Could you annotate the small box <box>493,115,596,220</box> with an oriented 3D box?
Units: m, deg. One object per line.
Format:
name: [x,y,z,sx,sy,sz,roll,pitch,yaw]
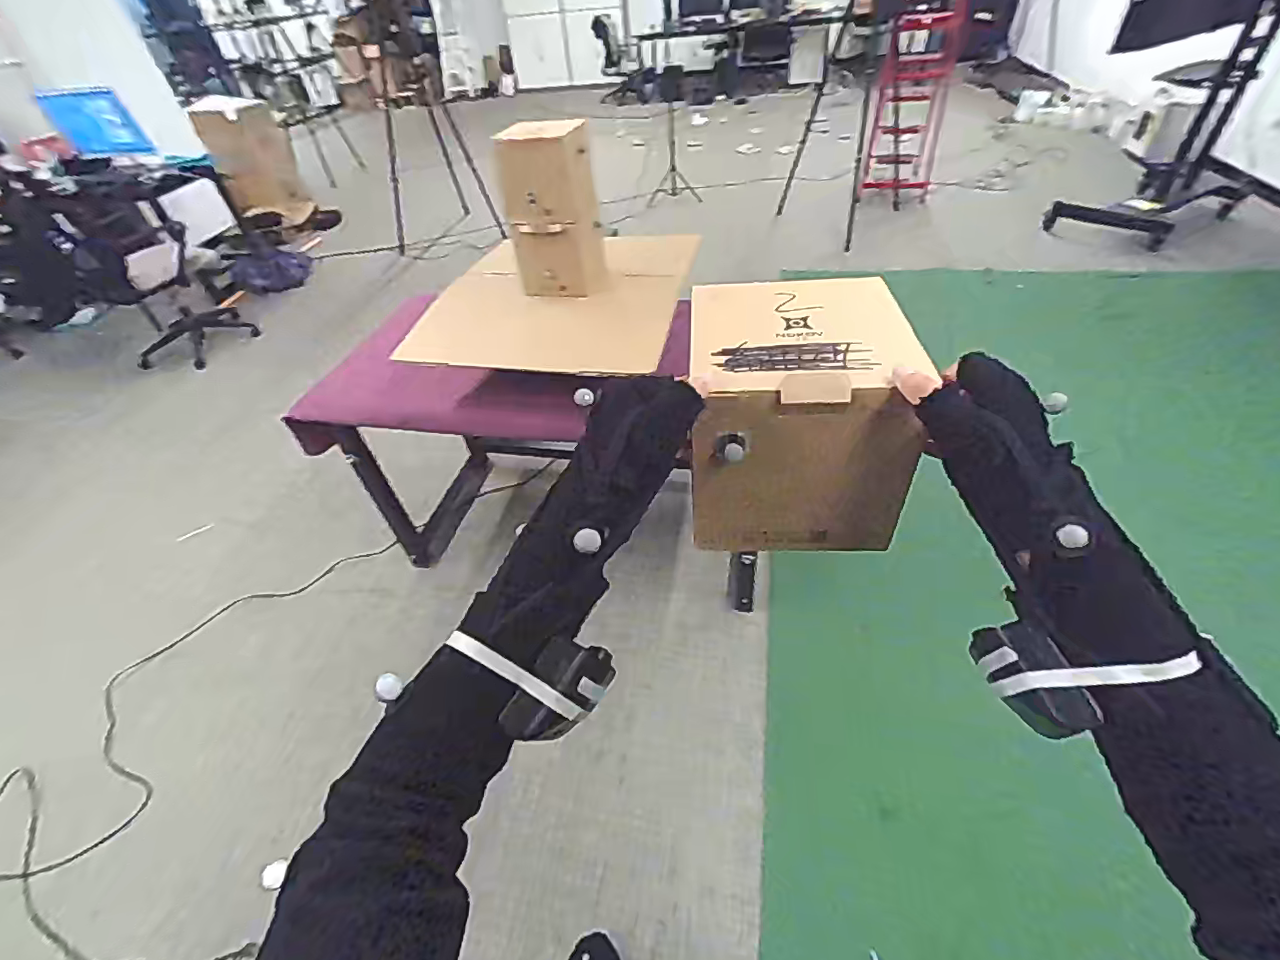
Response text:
small box: [-0.201,-0.691,1.197,0.168,0.176,0.179,5,44,11]

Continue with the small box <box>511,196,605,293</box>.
small box: [-0.188,-0.571,1.306,0.168,0.176,0.179,6,44,13]
